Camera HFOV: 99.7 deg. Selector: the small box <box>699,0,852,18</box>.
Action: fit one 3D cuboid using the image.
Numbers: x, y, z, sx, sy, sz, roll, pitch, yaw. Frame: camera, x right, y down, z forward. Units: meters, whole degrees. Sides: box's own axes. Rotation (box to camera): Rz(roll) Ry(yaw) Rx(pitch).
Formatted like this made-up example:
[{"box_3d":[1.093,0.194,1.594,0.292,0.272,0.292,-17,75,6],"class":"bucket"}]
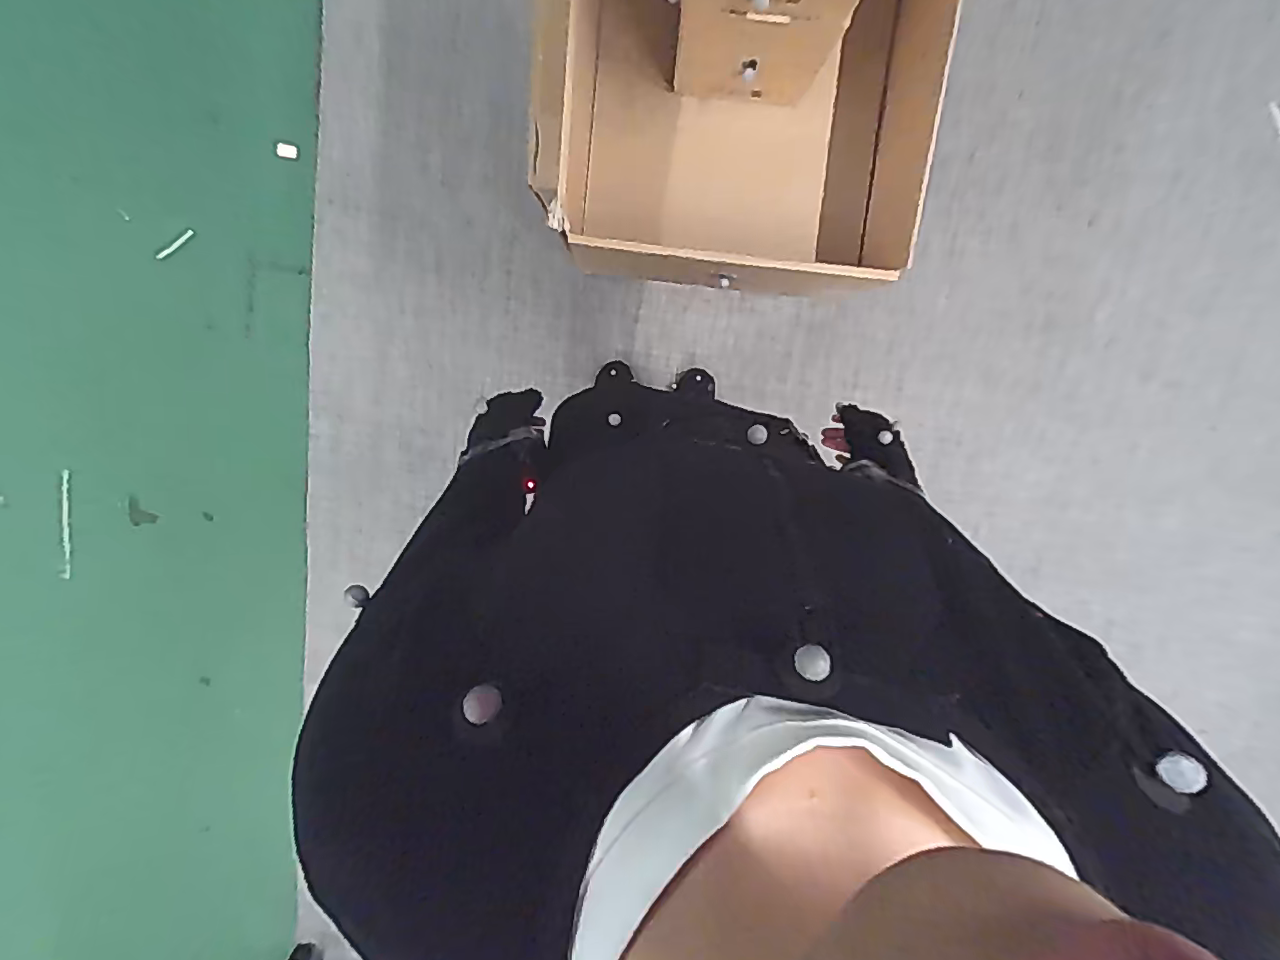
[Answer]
[{"box_3d":[0.130,-0.529,0.433,0.168,0.176,0.179,3,101,0],"class":"small box"}]
